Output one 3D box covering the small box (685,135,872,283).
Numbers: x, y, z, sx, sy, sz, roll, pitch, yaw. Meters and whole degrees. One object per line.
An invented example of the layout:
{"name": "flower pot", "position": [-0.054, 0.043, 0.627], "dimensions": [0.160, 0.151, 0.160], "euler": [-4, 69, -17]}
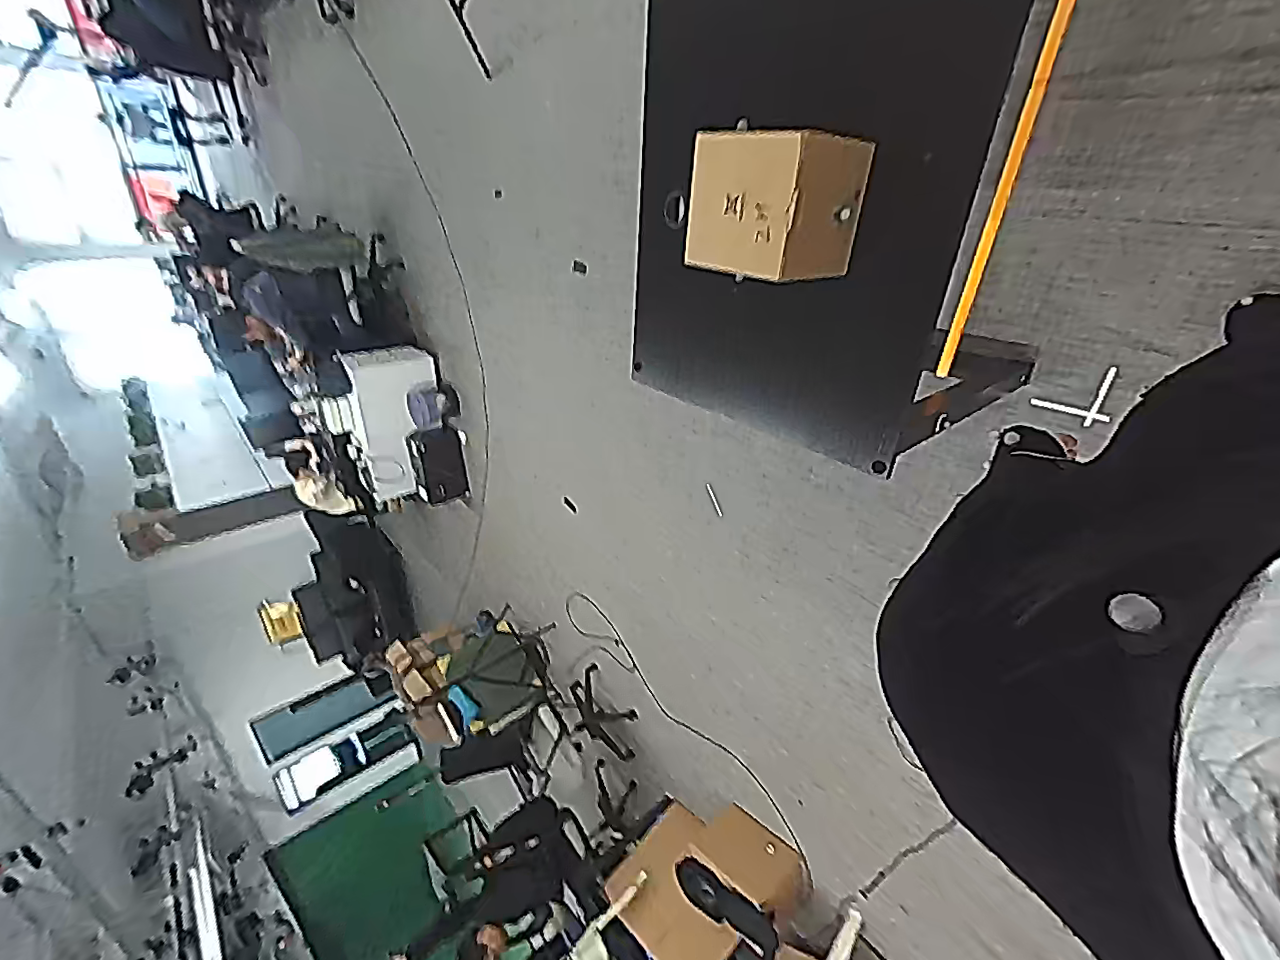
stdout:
{"name": "small box", "position": [0.190, -0.382, 0.764], "dimensions": [0.179, 0.176, 0.168], "euler": [31, 130, 40]}
